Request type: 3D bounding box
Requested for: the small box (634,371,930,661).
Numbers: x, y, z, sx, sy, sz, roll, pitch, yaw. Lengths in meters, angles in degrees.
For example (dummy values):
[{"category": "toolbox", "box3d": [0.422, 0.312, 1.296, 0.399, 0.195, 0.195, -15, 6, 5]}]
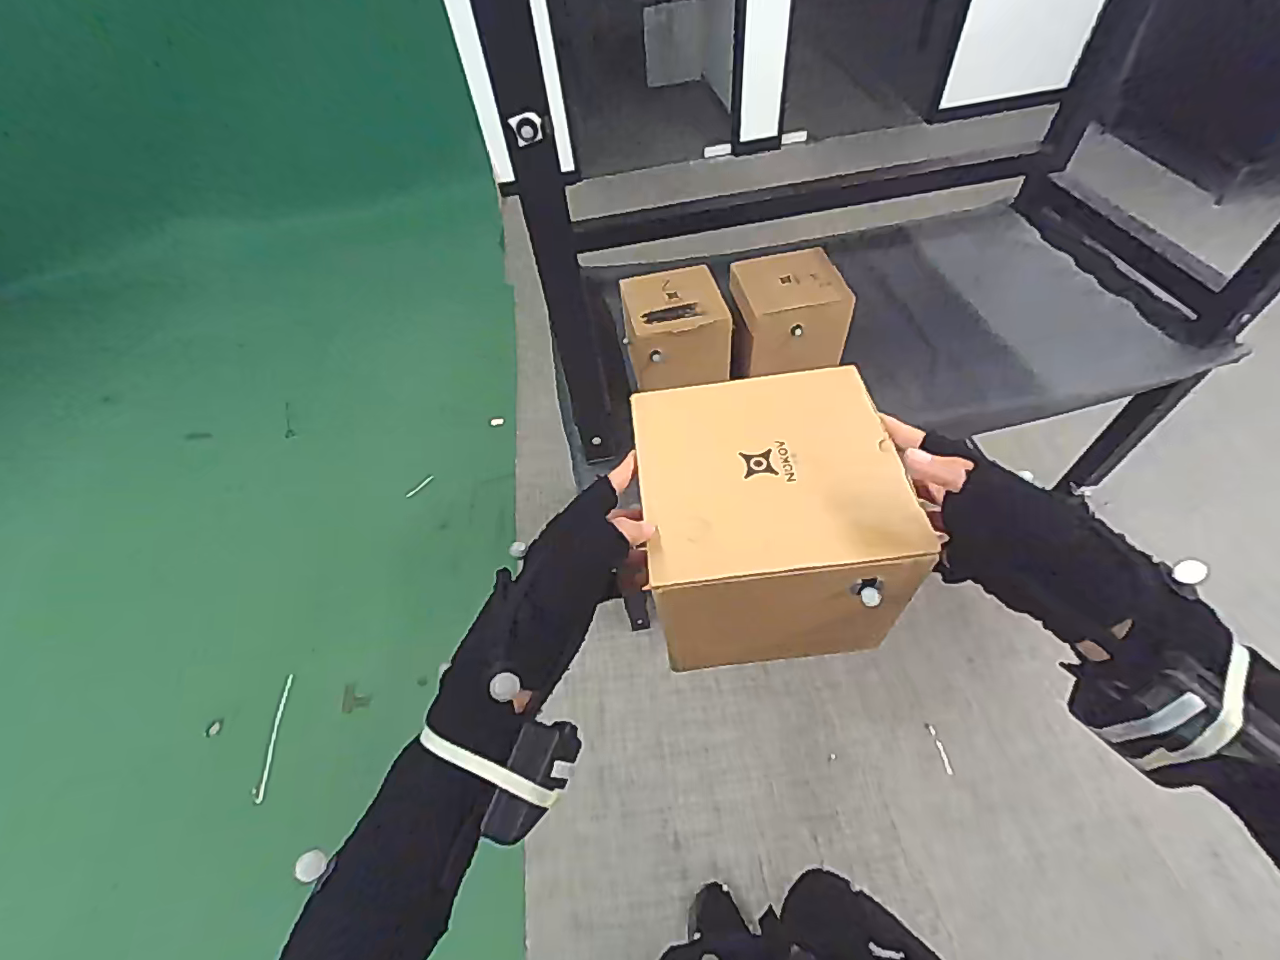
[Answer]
[{"category": "small box", "box3d": [0.095, 0.037, 0.443, 0.179, 0.176, 0.168, -7, 53, 1]}]
